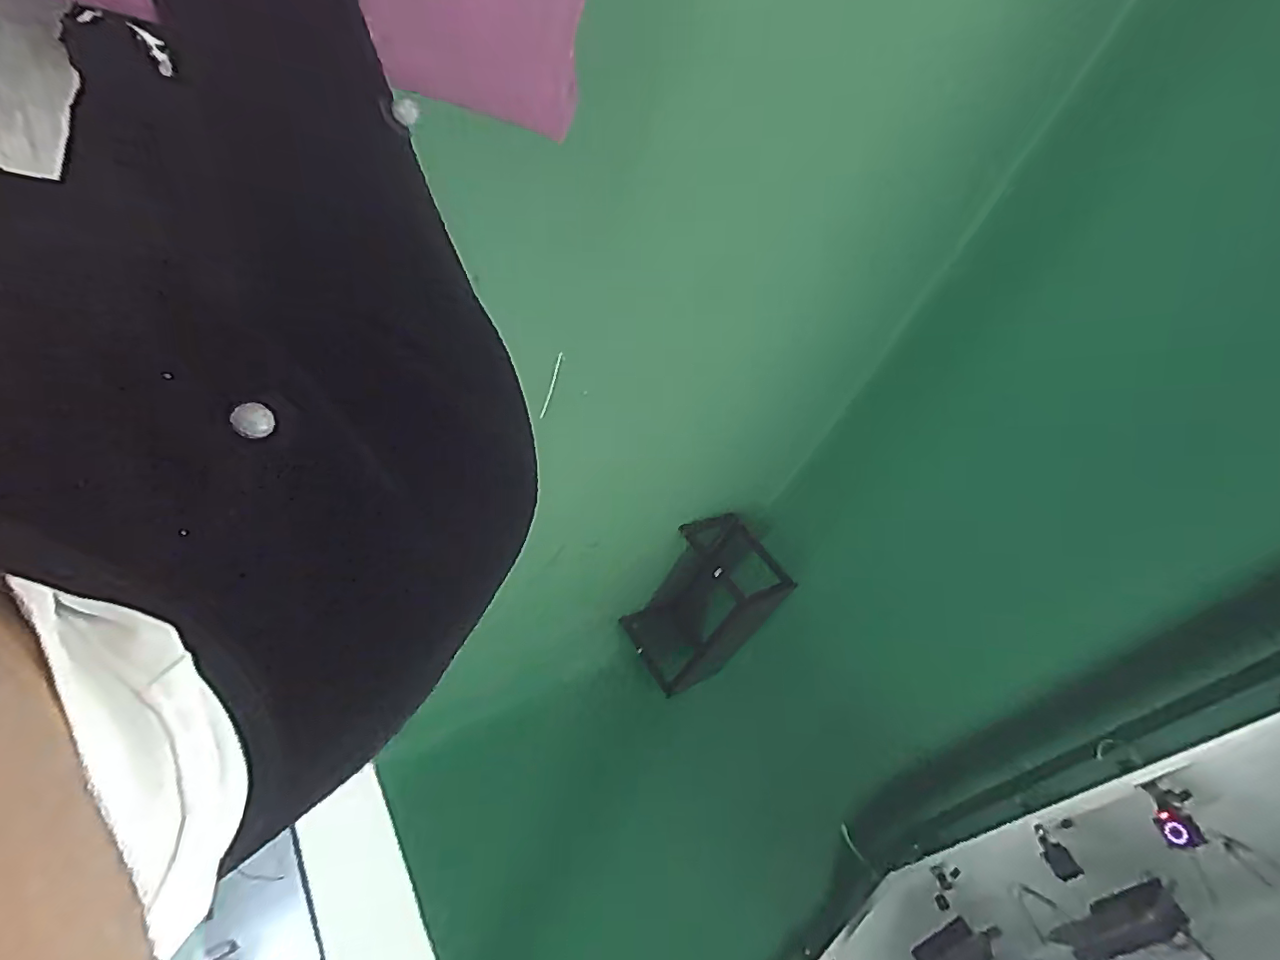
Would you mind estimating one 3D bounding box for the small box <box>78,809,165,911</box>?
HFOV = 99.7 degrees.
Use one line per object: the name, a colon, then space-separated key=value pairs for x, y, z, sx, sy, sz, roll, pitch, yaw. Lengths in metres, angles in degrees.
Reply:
small box: x=-1.536 y=1.122 z=1.607 sx=0.168 sy=0.176 sz=0.179 roll=-10 pitch=138 yaw=-40
